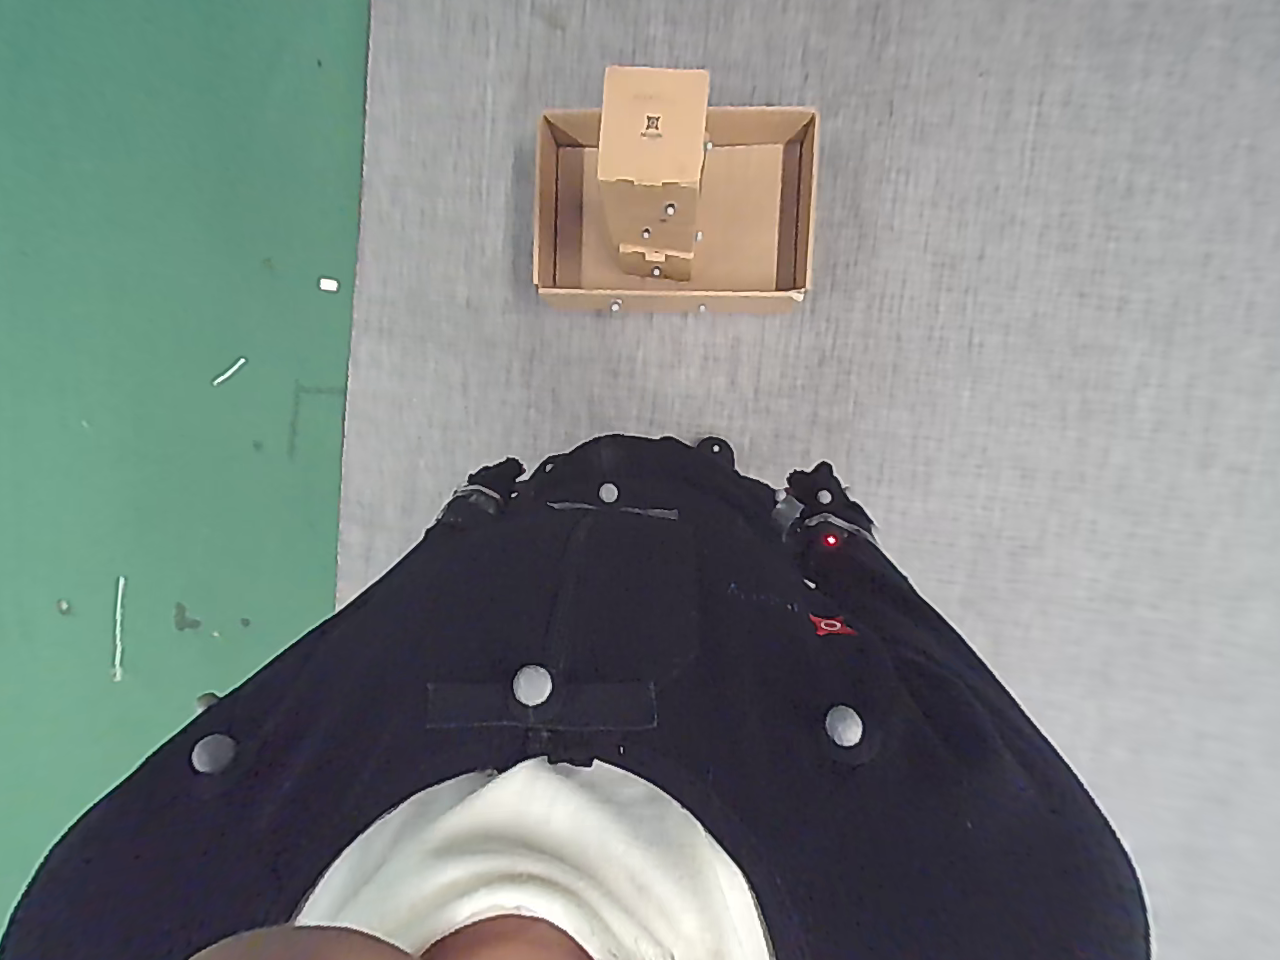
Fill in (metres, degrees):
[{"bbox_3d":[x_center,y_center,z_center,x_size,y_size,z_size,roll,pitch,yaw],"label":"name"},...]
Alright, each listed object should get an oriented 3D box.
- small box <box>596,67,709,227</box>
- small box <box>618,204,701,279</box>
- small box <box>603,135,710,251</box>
[{"bbox_3d":[0.023,-0.556,0.926,0.168,0.176,0.179,6,93,2],"label":"small box"},{"bbox_3d":[0.050,-0.579,1.250,0.168,0.176,0.179,9,95,3],"label":"small box"},{"bbox_3d":[0.035,-0.578,1.086,0.179,0.176,0.168,11,94,4],"label":"small box"}]
